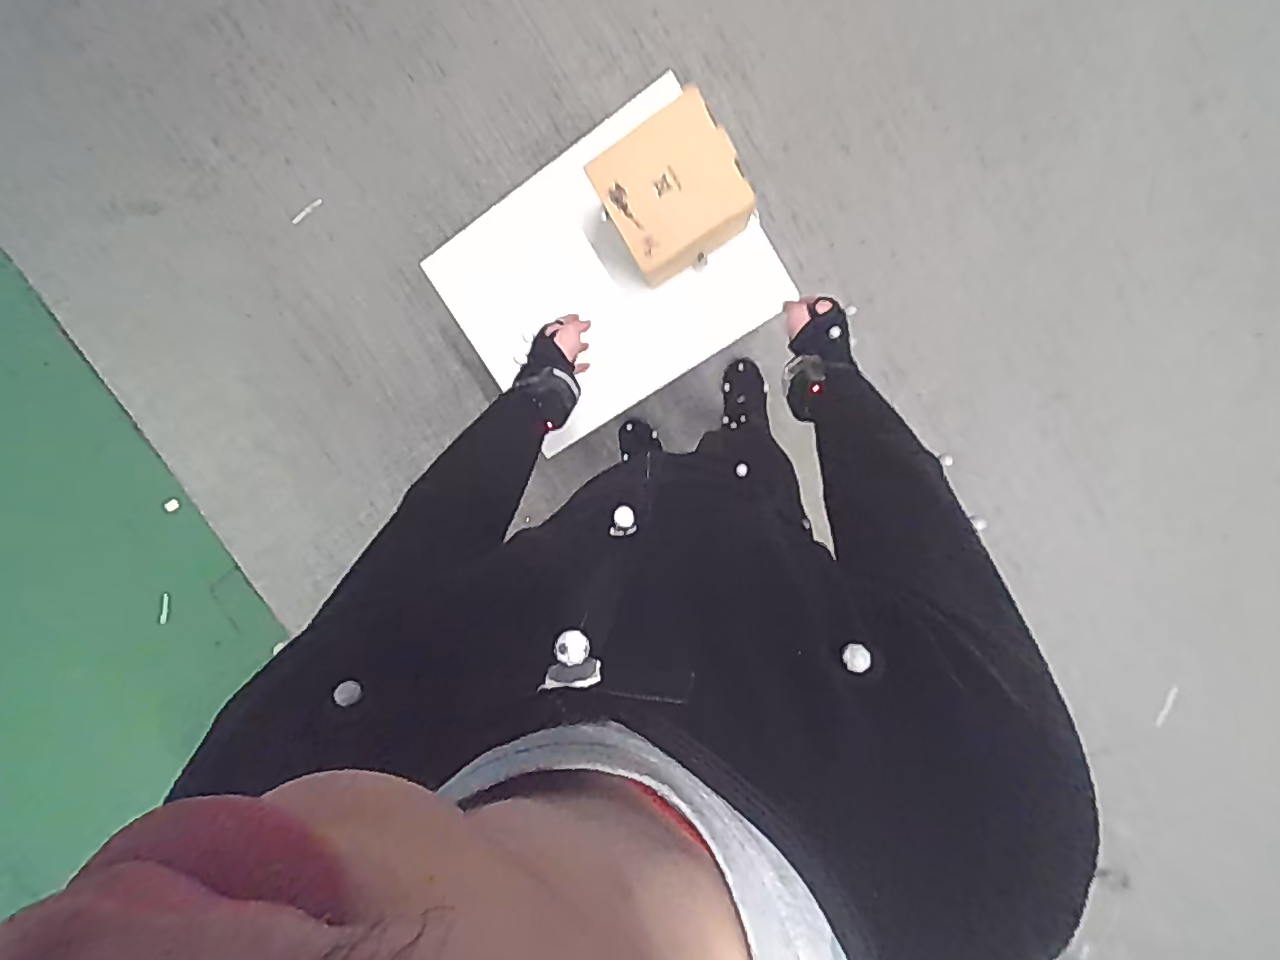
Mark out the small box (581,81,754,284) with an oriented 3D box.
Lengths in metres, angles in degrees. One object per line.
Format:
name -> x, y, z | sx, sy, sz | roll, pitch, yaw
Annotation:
small box -> 0.039, -0.406, 0.774 | 0.179, 0.176, 0.168 | -29, 98, 9
